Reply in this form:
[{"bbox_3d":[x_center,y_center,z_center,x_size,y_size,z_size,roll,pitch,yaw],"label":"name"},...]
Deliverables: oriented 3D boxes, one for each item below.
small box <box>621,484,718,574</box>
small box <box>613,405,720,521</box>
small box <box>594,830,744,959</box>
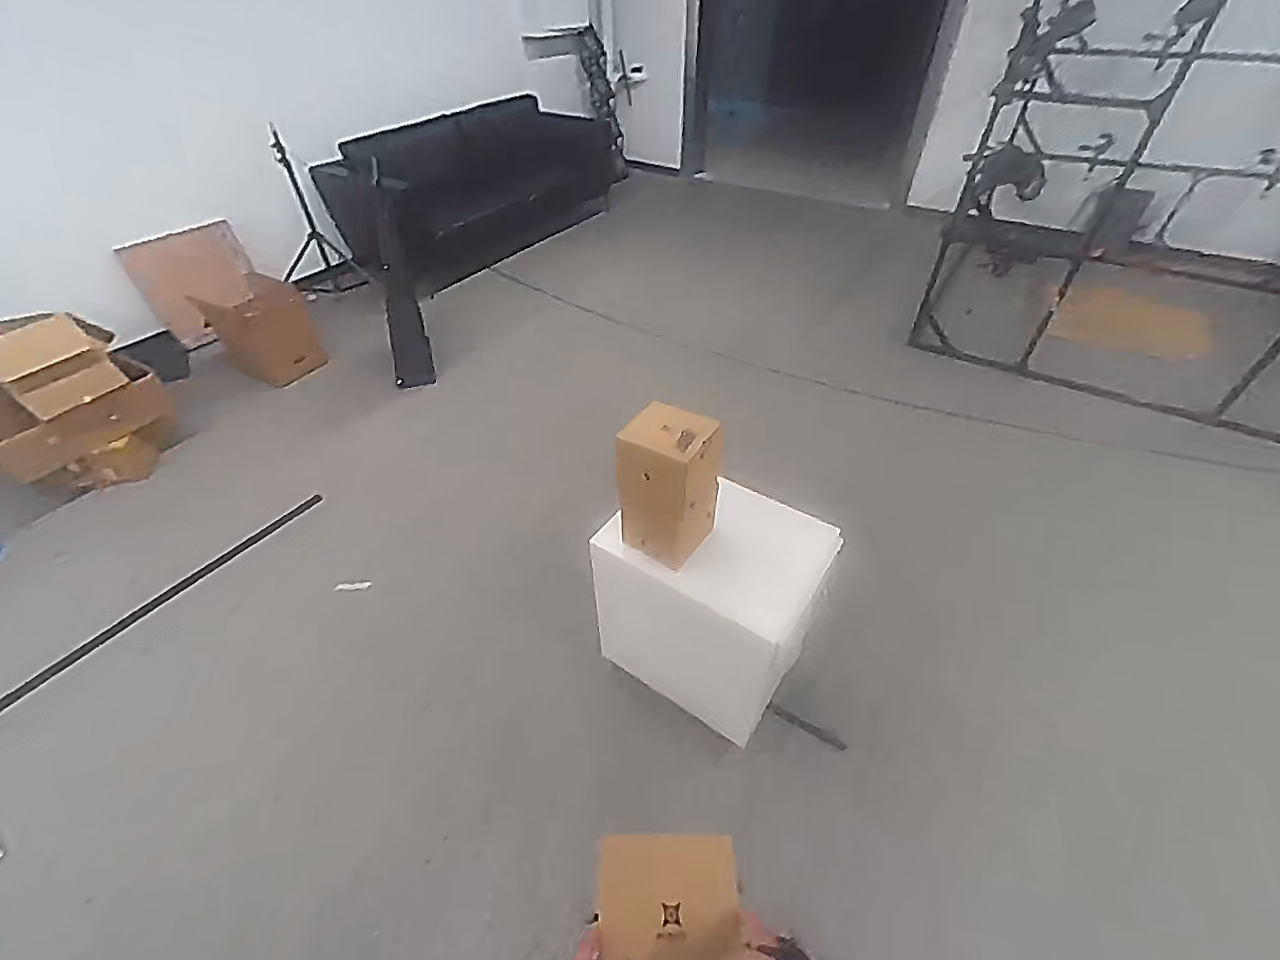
[{"bbox_3d":[0.066,0.089,1.302,0.168,0.176,0.179,26,48,26],"label":"small box"},{"bbox_3d":[0.060,-0.035,1.194,0.179,0.176,0.168,21,46,24],"label":"small box"},{"bbox_3d":[0.029,0.560,0.672,0.168,0.176,0.179,3,45,-2],"label":"small box"}]
